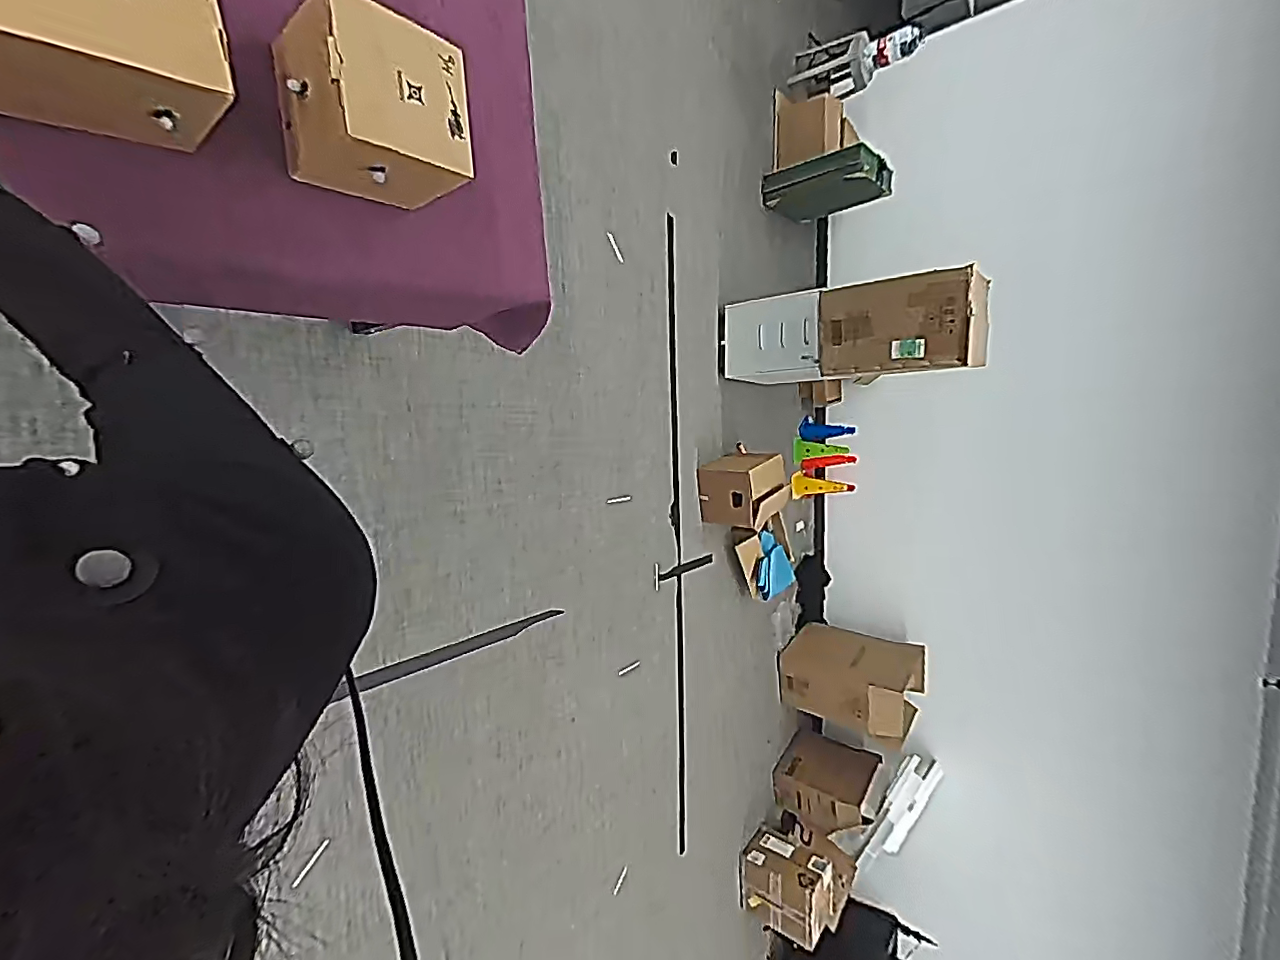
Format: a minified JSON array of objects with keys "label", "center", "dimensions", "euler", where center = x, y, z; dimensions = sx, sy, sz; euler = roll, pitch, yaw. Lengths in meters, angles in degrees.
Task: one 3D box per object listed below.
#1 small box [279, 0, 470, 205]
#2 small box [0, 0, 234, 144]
[{"label":"small box","center":[-0.356,-0.491,0.724],"dimensions":[0.179,0.176,0.168],"euler":[-13,102,-50]},{"label":"small box","center":[-0.527,-0.445,0.508],"dimensions":[0.179,0.176,0.168],"euler":[-20,106,-49]}]
